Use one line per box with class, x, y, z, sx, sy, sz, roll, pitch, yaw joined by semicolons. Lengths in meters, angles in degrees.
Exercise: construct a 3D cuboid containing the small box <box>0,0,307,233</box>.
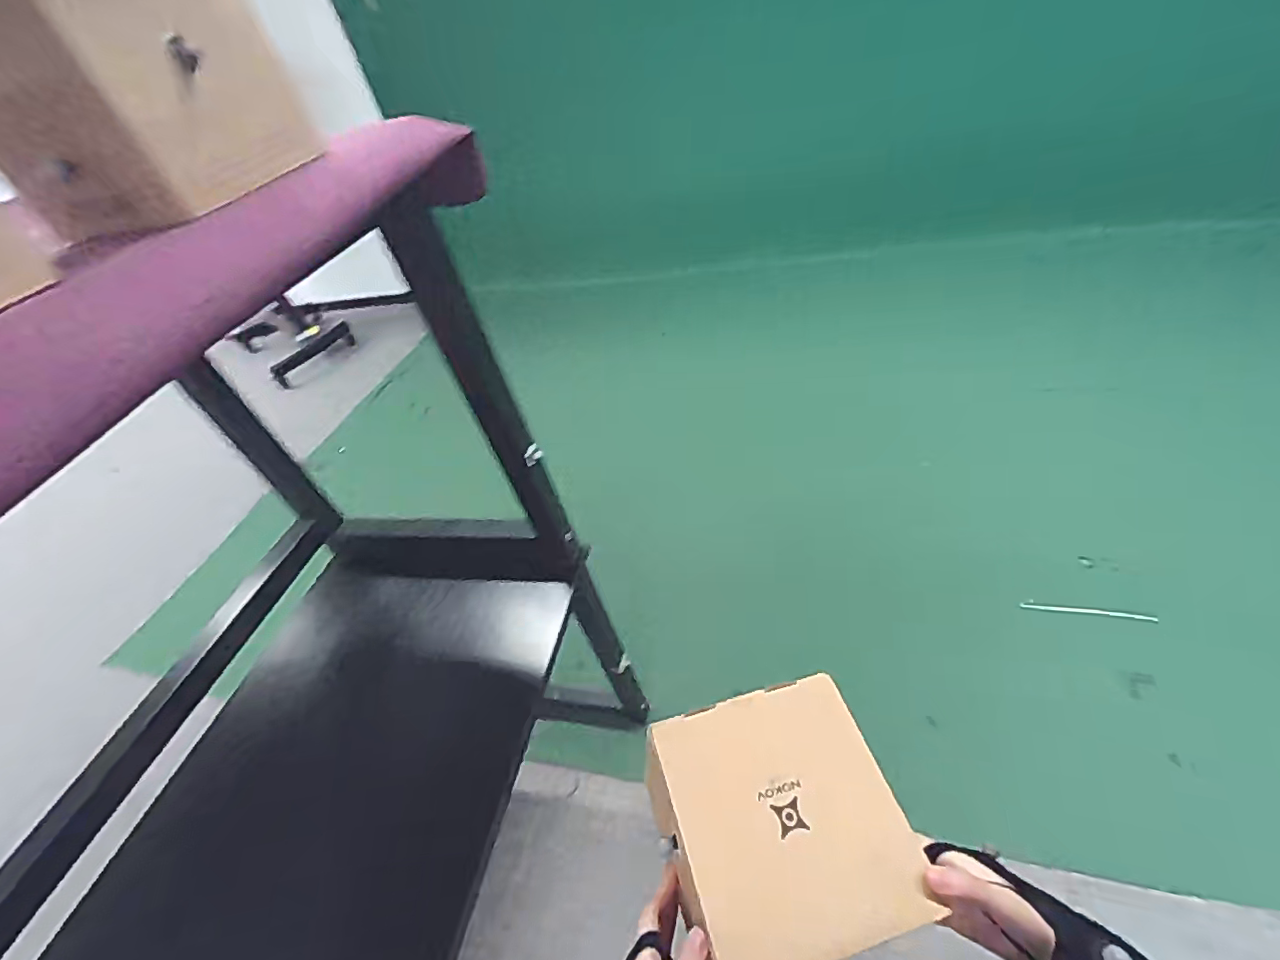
small box;-0.419;-0.325;0.444;0.168;0.176;0.179;1;46;17
